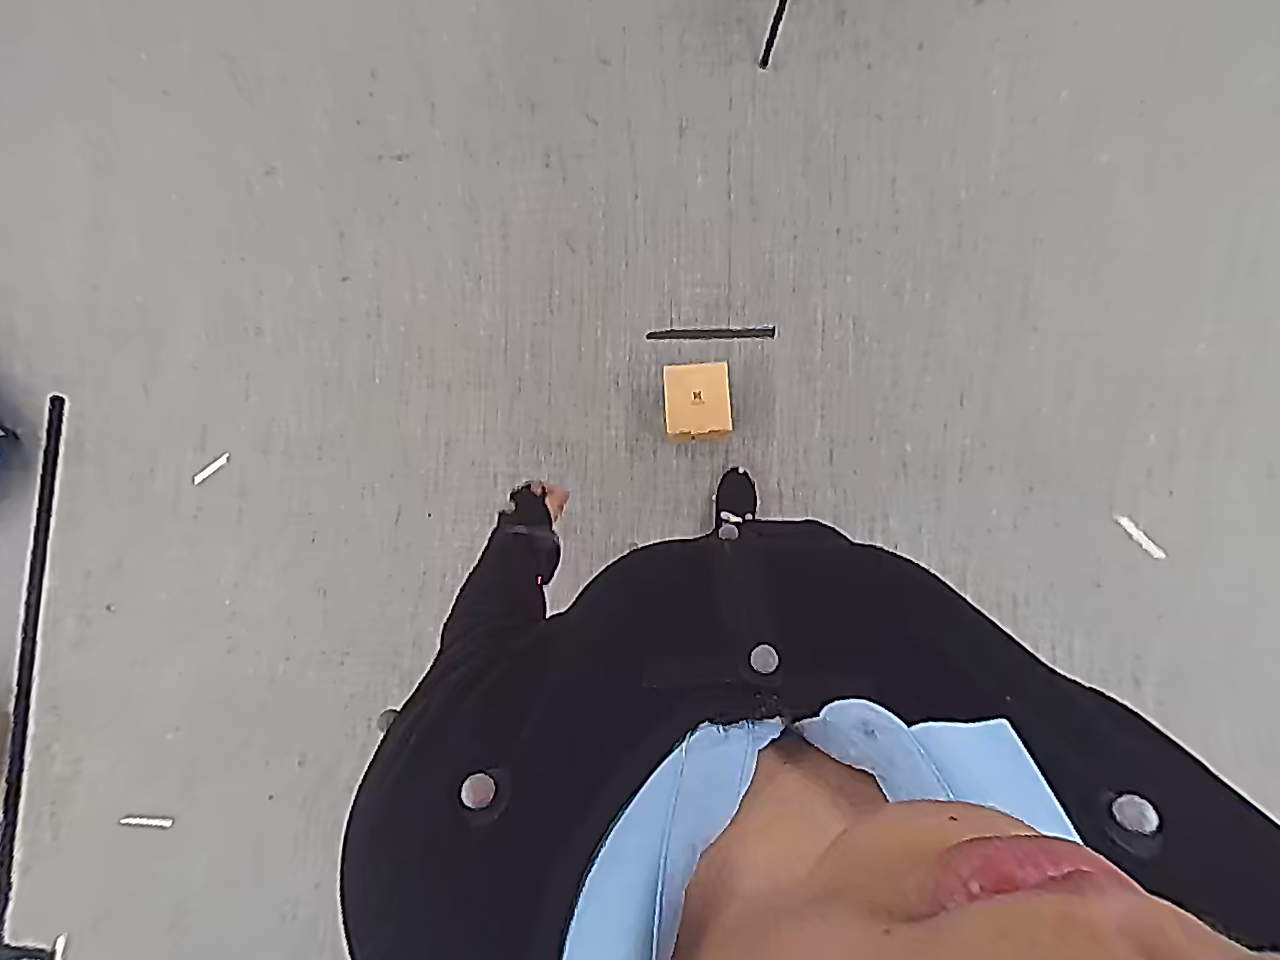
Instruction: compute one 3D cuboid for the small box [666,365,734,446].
[{"bbox_3d":[0.156,-0.193,1.443,0.168,0.176,0.179,-4,85,4],"label":"small box"}]
